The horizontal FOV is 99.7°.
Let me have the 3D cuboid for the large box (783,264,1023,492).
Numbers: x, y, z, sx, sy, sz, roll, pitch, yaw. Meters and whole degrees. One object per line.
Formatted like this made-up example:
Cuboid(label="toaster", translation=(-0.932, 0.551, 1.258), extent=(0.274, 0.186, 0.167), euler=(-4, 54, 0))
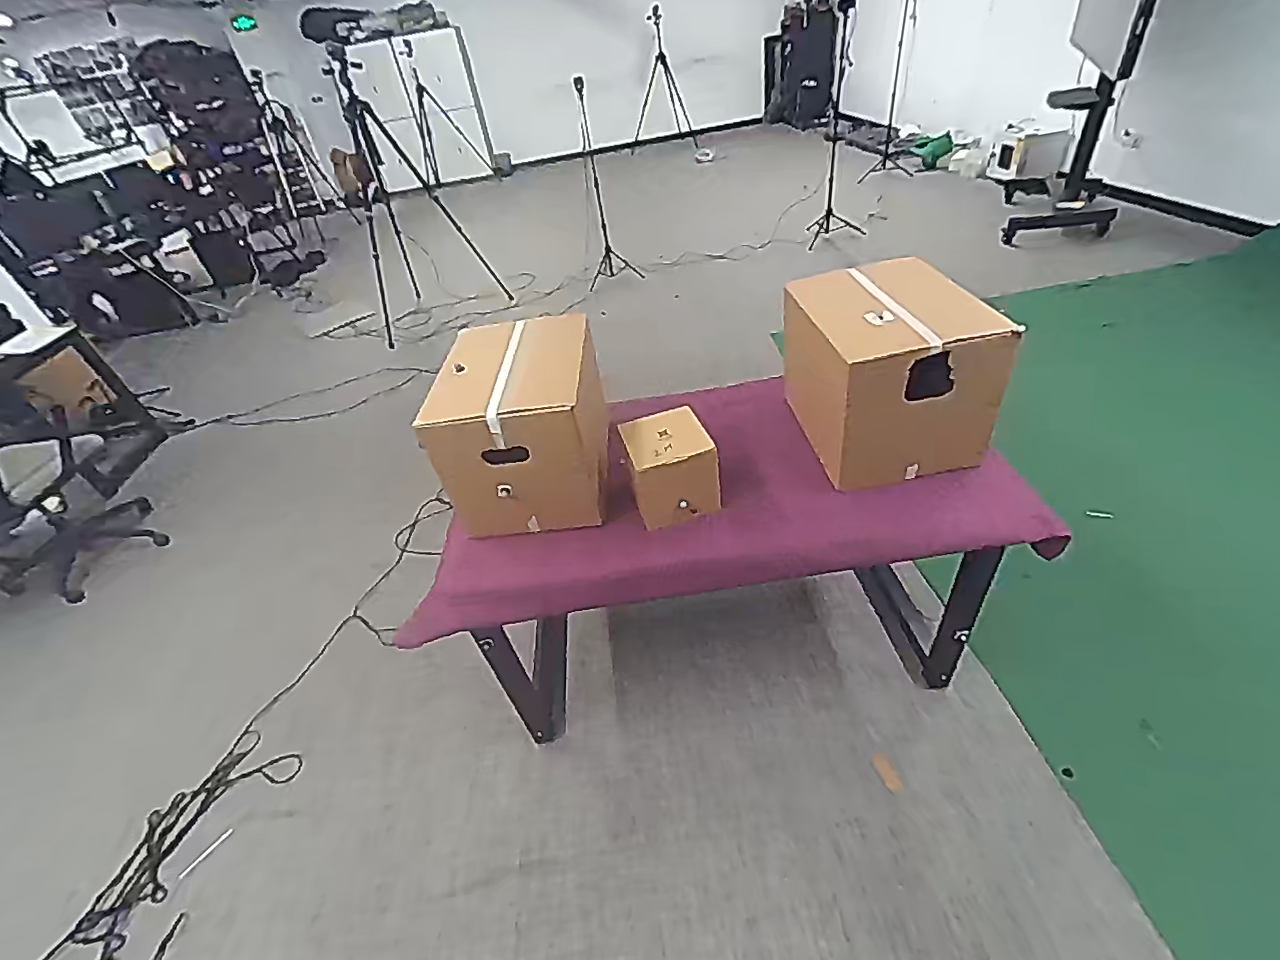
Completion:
Cuboid(label="large box", translation=(0.528, -0.235, 1.198), extent=(0.320, 0.320, 0.408), euler=(-11, 40, 3))
